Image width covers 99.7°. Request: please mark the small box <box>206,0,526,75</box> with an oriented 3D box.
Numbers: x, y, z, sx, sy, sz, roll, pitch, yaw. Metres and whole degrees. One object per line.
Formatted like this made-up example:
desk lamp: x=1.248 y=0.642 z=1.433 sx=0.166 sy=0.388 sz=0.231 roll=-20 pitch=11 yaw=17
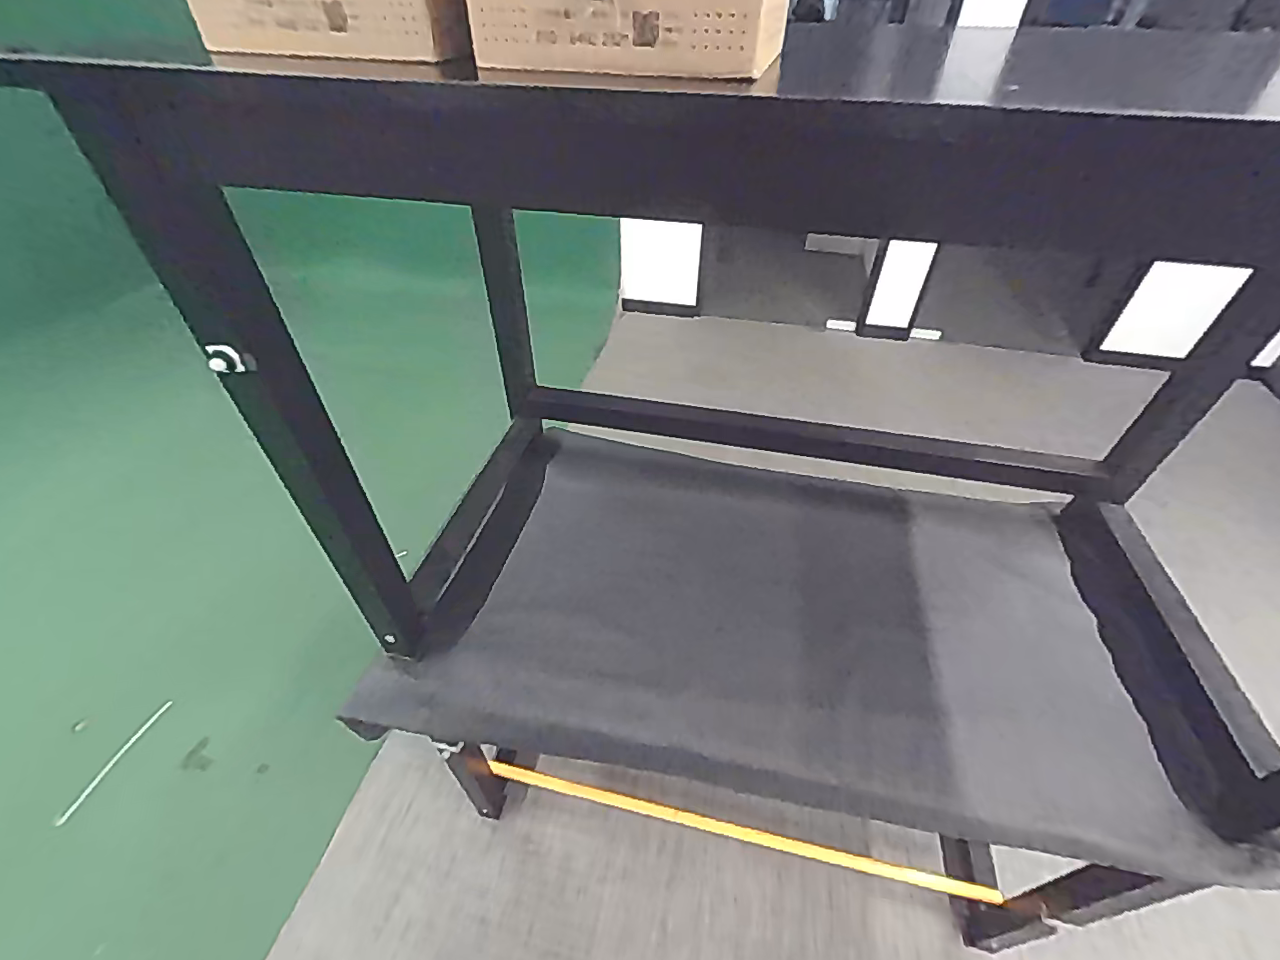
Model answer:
small box: x=-0.185 y=-0.382 z=0.357 sx=0.168 sy=0.176 sz=0.179 roll=10 pitch=43 yaw=8
